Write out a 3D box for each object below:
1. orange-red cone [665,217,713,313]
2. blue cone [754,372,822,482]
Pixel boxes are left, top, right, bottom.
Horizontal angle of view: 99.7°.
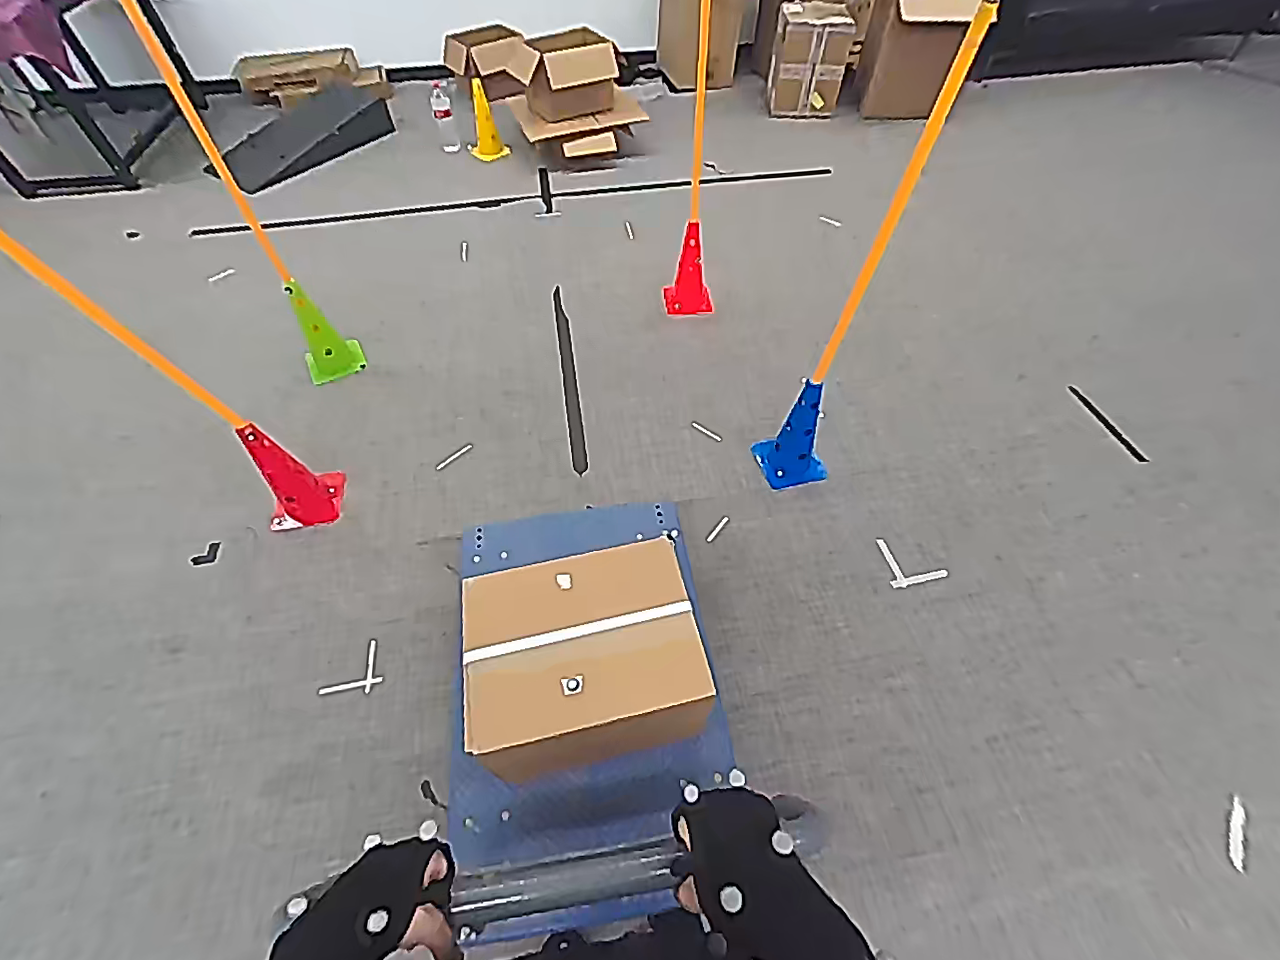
[{"bbox_3d":[0.209,-0.878,2.177,0.199,0.360,0.198,-3,54,-3],"label":"orange-red cone"},{"bbox_3d":[0.494,-0.175,1.673,0.193,0.380,0.192,-12,53,-8],"label":"blue cone"}]
